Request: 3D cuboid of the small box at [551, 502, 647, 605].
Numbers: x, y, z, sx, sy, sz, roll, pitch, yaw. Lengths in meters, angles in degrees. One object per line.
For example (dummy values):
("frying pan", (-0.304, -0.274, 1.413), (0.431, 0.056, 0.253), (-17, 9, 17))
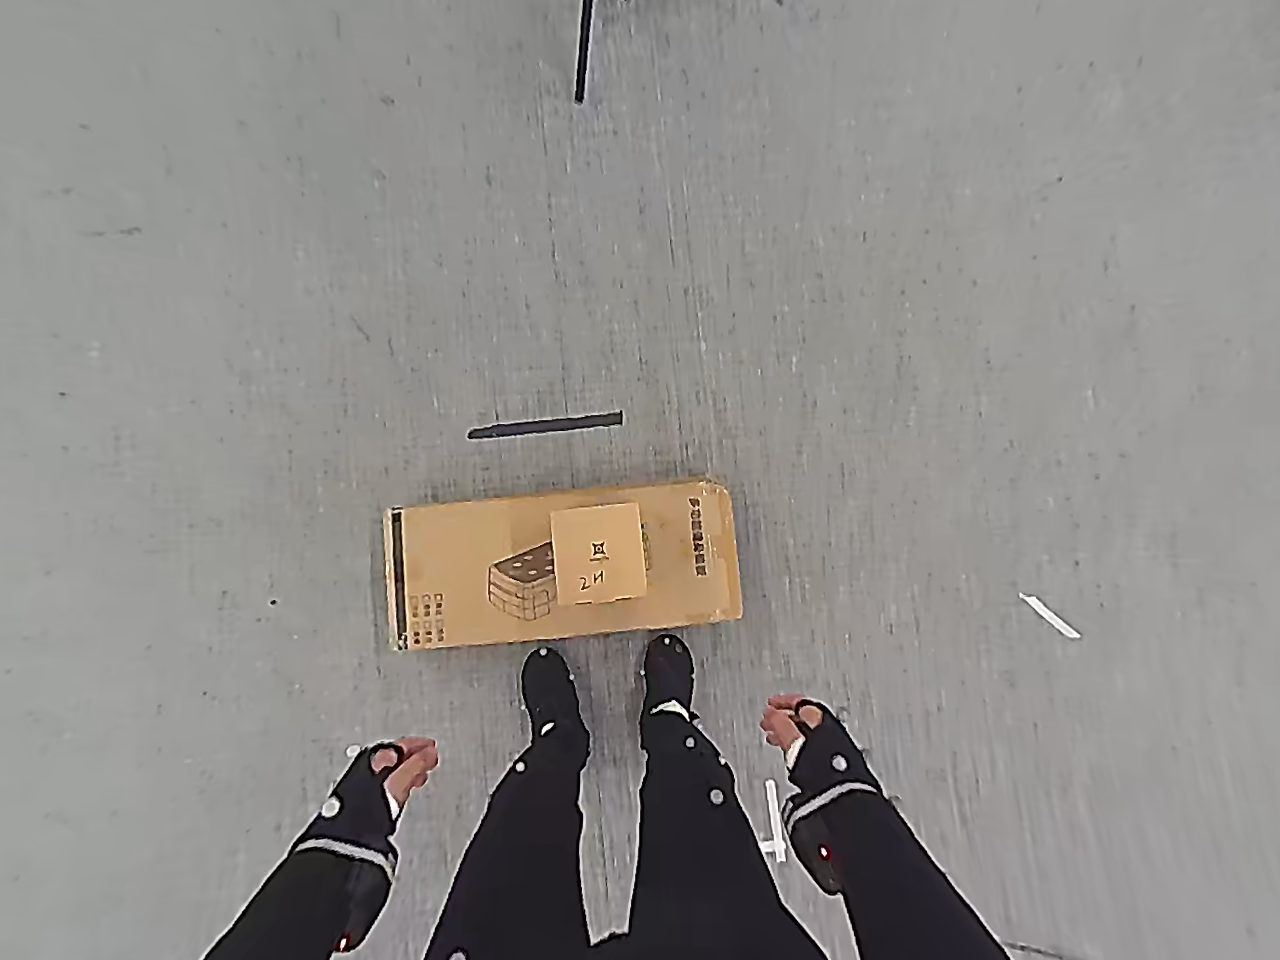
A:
("small box", (-0.078, 0.142, 1.060), (0.168, 0.176, 0.179), (-6, 84, -2))
